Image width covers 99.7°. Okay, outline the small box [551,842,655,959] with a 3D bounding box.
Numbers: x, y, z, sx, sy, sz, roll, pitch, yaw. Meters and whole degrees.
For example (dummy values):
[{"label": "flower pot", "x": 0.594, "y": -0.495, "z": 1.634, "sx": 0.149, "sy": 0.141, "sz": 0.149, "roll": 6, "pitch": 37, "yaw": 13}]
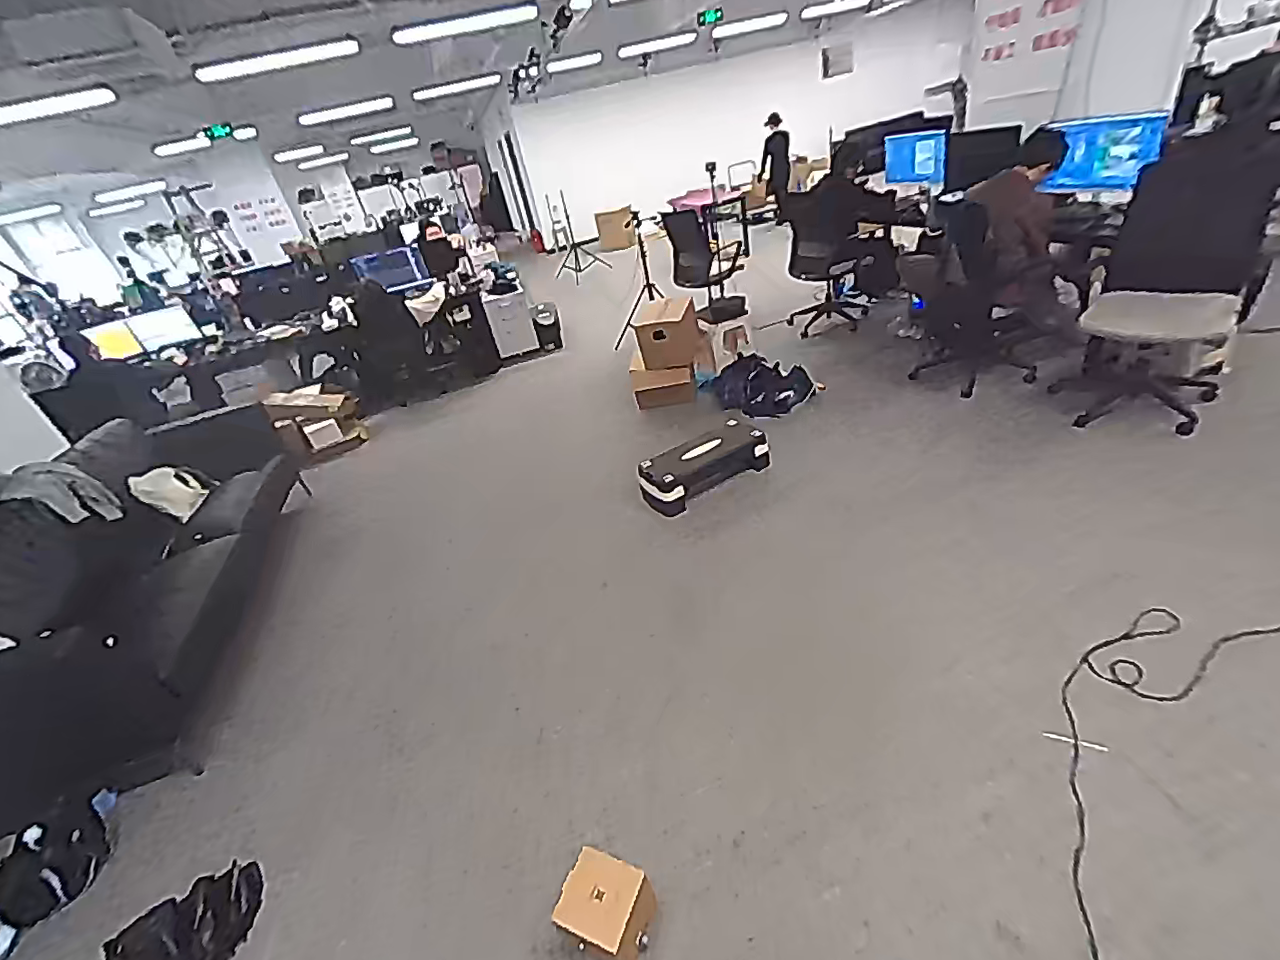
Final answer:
[{"label": "small box", "x": -0.082, "y": 1.024, "z": 1.302, "sx": 0.179, "sy": 0.176, "sz": 0.168, "roll": 5, "pitch": 37, "yaw": 26}]
